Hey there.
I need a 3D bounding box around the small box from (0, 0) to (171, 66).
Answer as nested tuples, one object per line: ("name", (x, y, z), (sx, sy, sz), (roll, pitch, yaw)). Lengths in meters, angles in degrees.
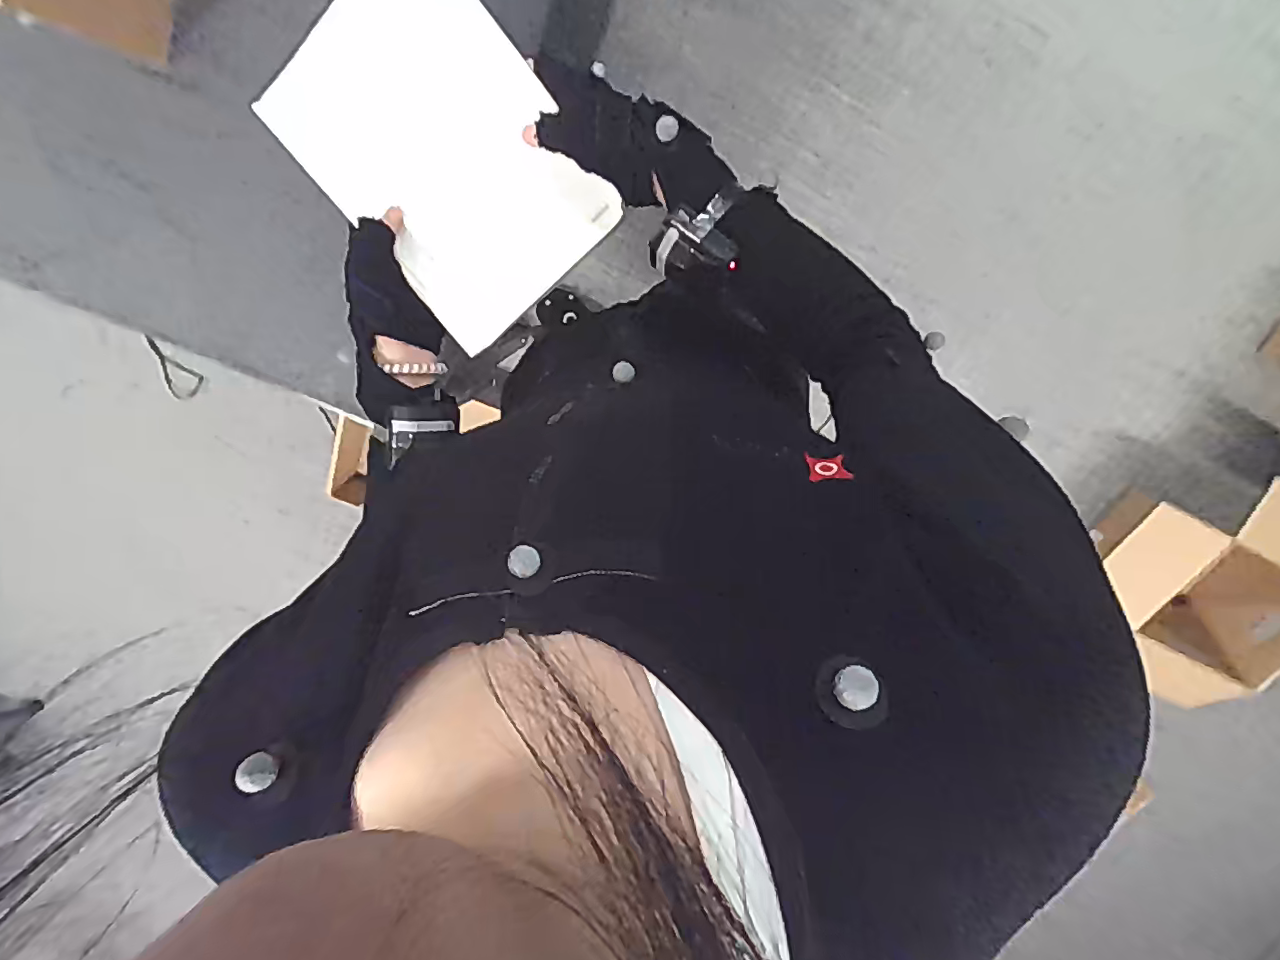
("small box", (-0.561, -0.529, 0.482), (0.168, 0.176, 0.179), (26, 109, -8))
